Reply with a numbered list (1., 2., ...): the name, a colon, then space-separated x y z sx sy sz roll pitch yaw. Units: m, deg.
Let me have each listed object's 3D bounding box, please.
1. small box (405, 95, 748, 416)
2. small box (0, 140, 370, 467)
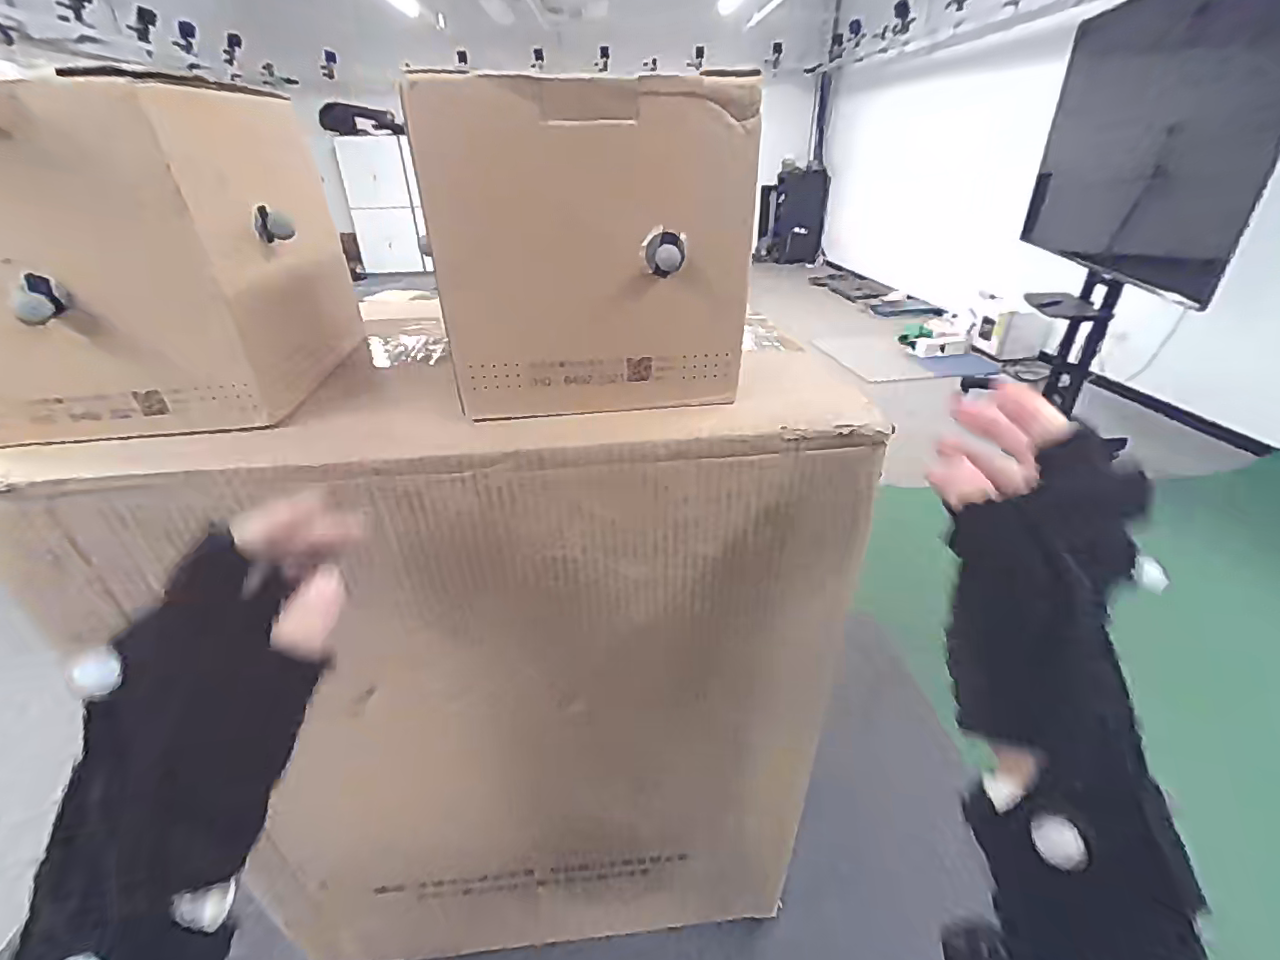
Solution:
1. small box: -0.035 -0.148 0.362 0.168 0.176 0.179 -3 31 -6
2. small box: -0.303 -0.118 0.357 0.168 0.176 0.179 -7 32 -6
